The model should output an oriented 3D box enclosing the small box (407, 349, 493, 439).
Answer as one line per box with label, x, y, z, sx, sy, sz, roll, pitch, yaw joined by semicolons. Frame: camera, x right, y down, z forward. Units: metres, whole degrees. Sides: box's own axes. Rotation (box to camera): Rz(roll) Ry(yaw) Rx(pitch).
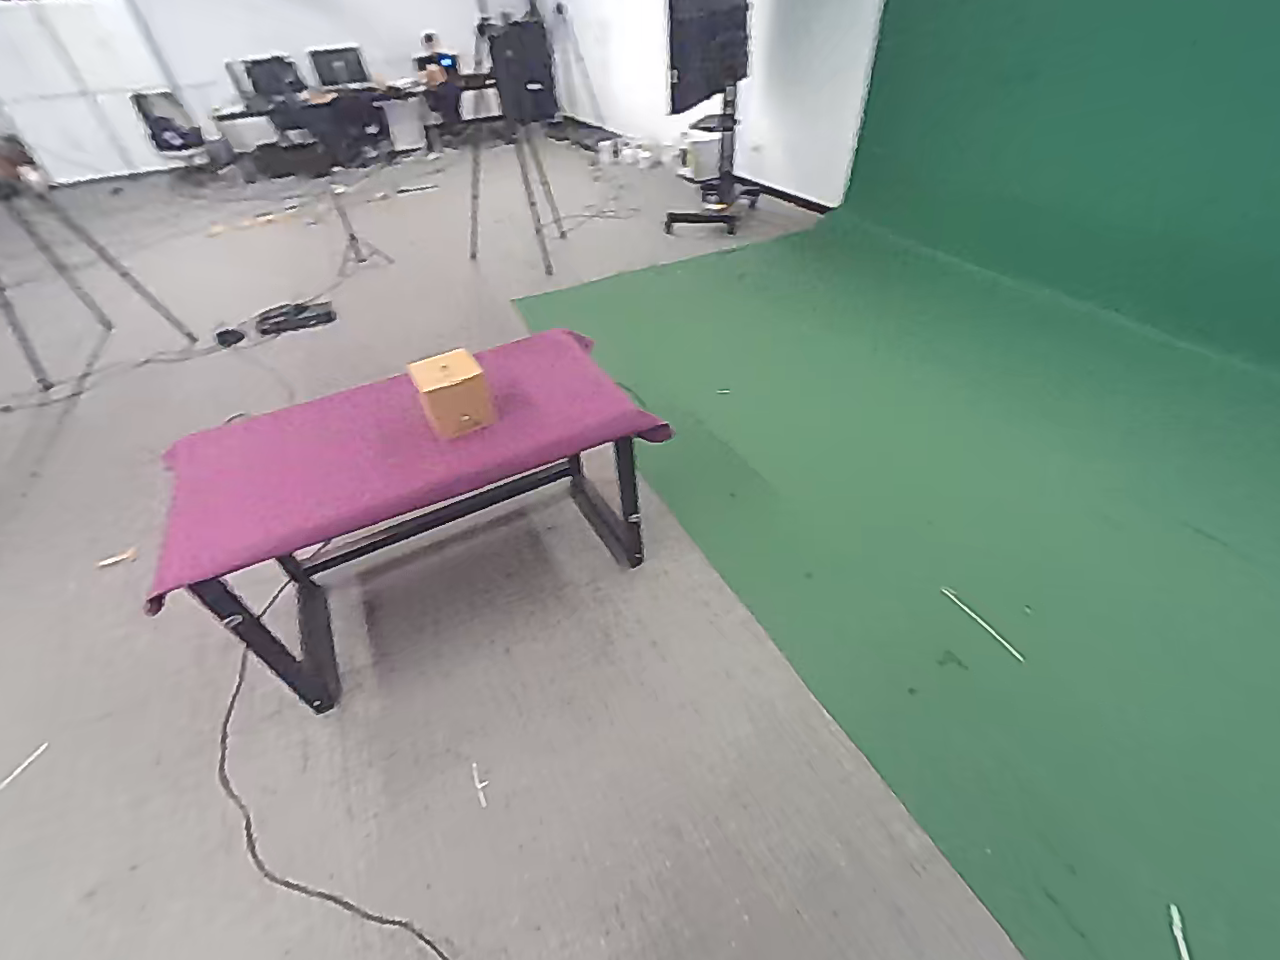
small box;-0.535;-0.243;1.531;0.168;0.176;0.179;-24;46;-21
